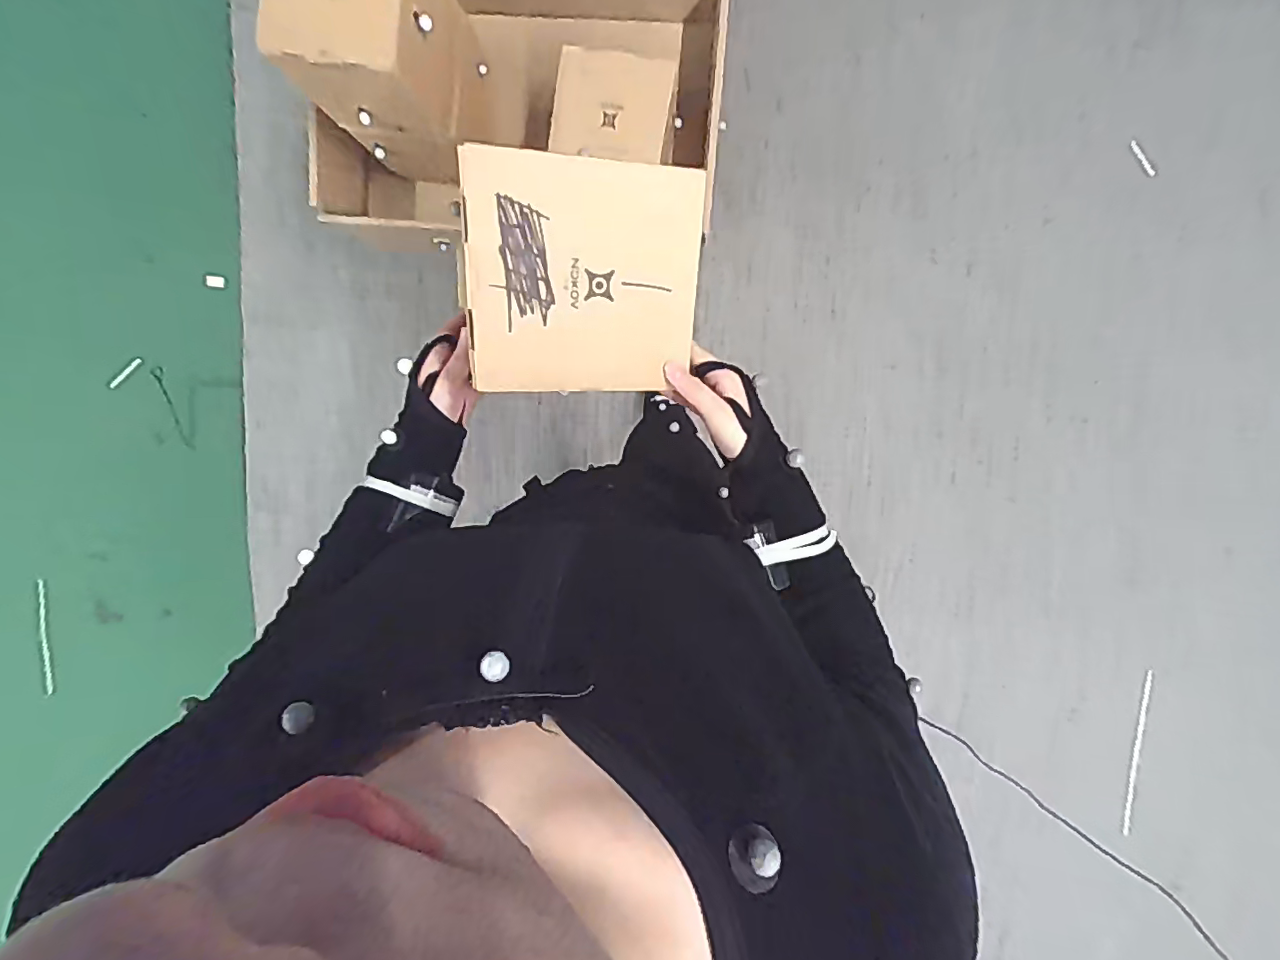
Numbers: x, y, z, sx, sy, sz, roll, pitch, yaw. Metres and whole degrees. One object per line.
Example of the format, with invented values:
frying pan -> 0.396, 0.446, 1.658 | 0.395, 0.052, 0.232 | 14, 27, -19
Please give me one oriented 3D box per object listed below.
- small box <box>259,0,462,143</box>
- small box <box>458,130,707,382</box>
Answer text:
small box -> -0.341, -0.574, 0.691 | 0.168, 0.176, 0.179 | 10, 97, 1
small box -> -0.061, -0.185, 0.474 | 0.179, 0.176, 0.168 | -3, 113, -16
